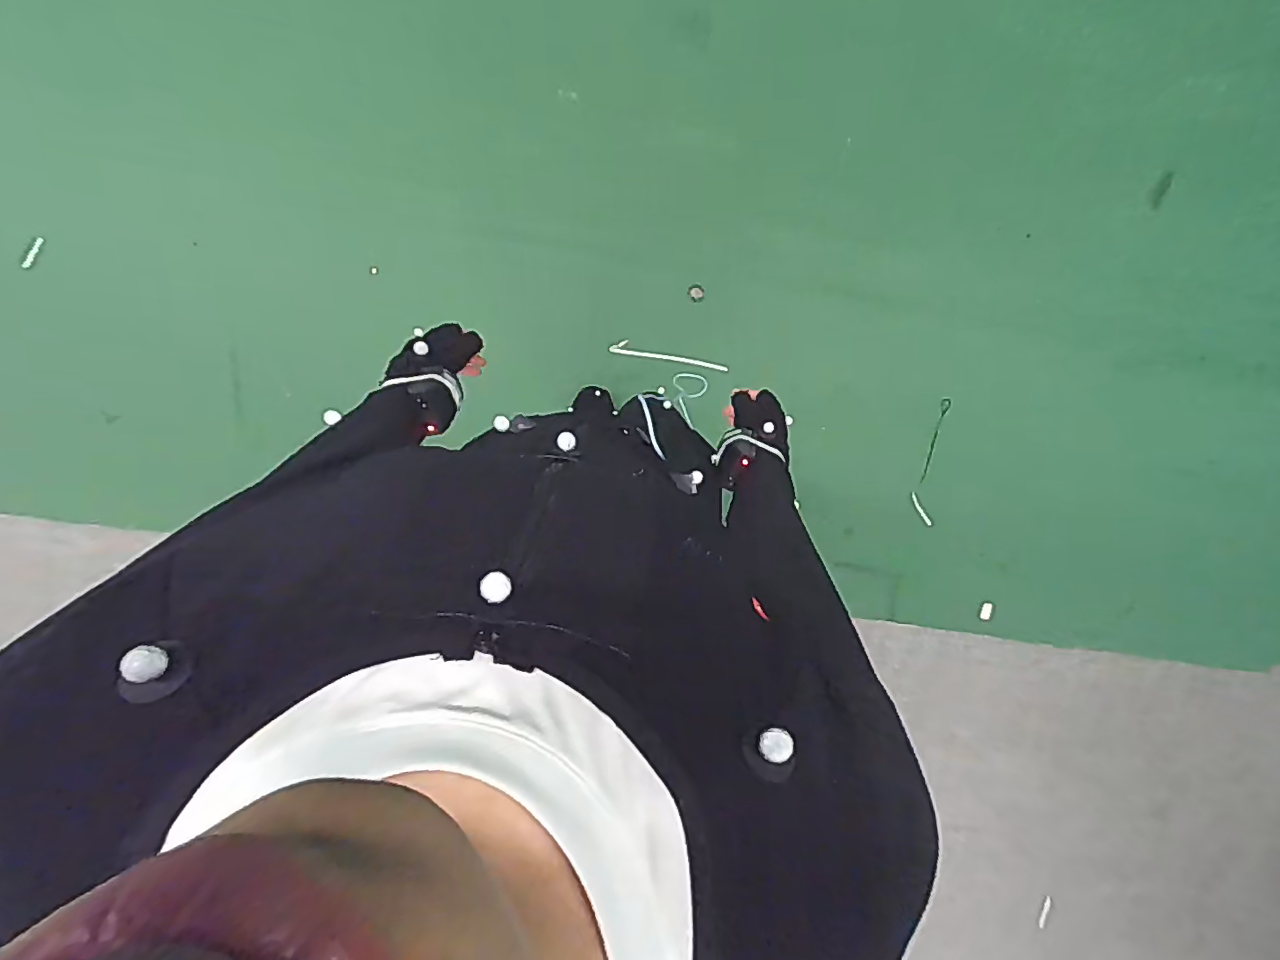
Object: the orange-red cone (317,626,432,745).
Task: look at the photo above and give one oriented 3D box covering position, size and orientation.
[{"bbox_3d":[-0.688,0.539,1.353,0.198,0.360,0.199,8,98,-2],"label":"orange-red cone"}]
